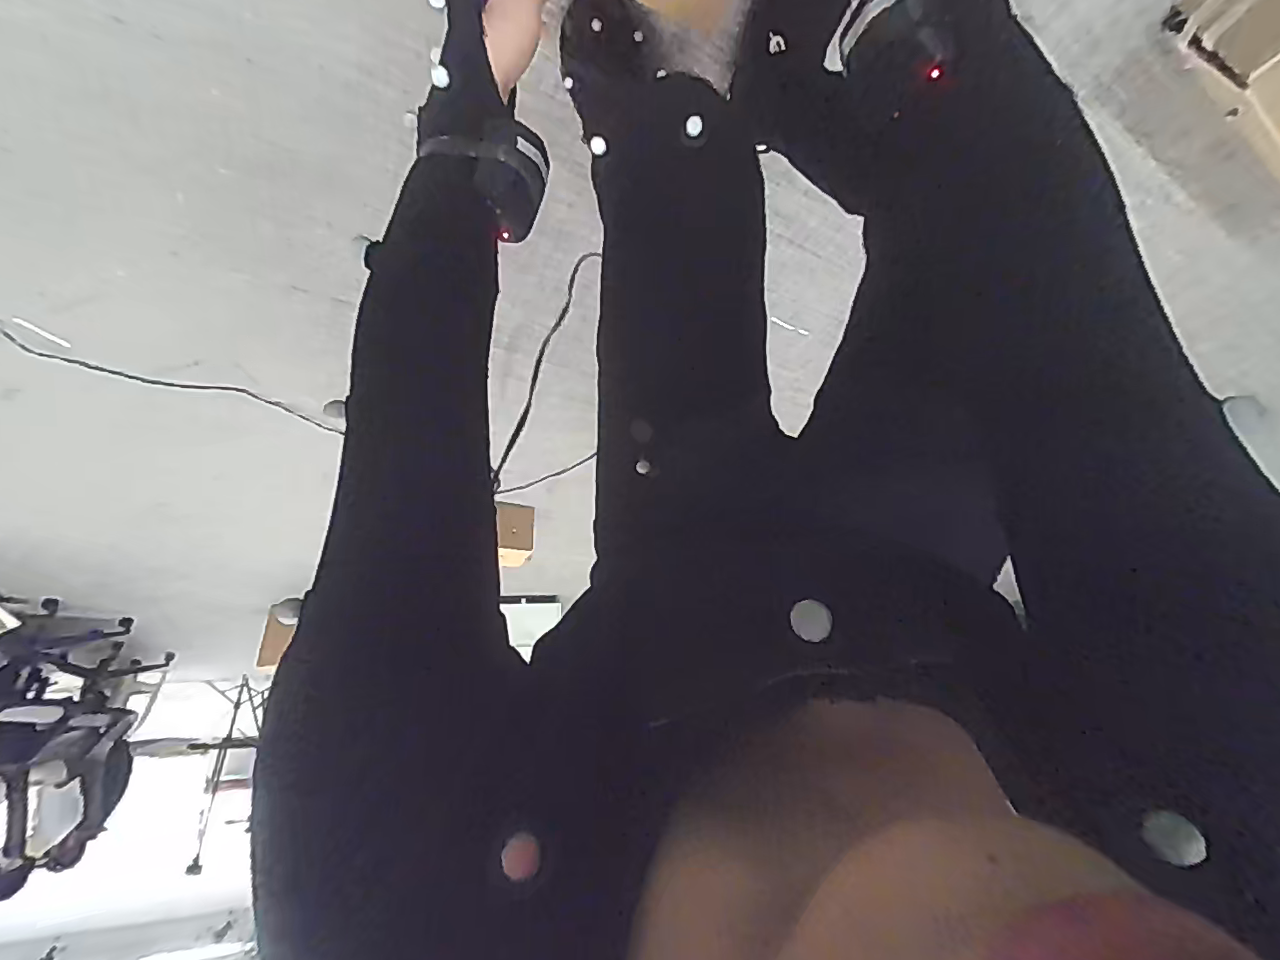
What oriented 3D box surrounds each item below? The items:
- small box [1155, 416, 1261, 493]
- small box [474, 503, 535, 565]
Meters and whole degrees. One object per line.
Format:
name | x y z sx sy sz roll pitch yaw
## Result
small box | 1.801 -0.081 1.718 0.179 0.176 0.168 15 146 -31
small box | -0.482 0.193 1.928 0.179 0.176 0.168 9 149 -25
